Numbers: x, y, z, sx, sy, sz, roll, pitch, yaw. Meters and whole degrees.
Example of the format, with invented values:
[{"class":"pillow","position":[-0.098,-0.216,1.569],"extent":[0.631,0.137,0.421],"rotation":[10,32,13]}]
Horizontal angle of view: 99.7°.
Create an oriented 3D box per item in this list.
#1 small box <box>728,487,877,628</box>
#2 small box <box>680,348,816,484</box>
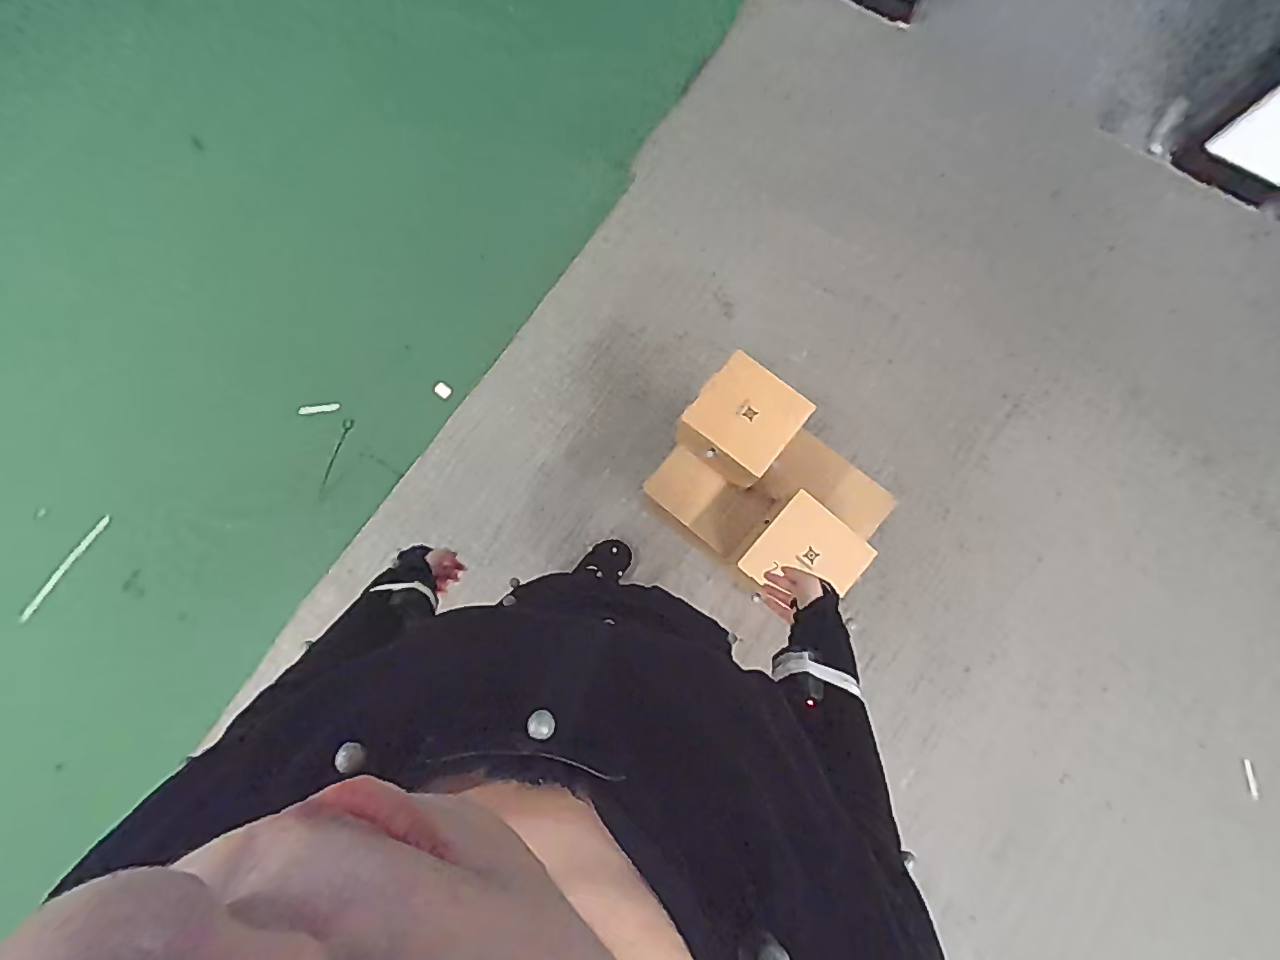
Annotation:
[{"class":"small box","position":[0.278,0.138,0.971],"extent":[0.168,0.176,0.179],"rotation":[42,84,7]},{"class":"small box","position":[0.192,-0.108,1.014],"extent":[0.179,0.176,0.168],"rotation":[39,83,8]}]
